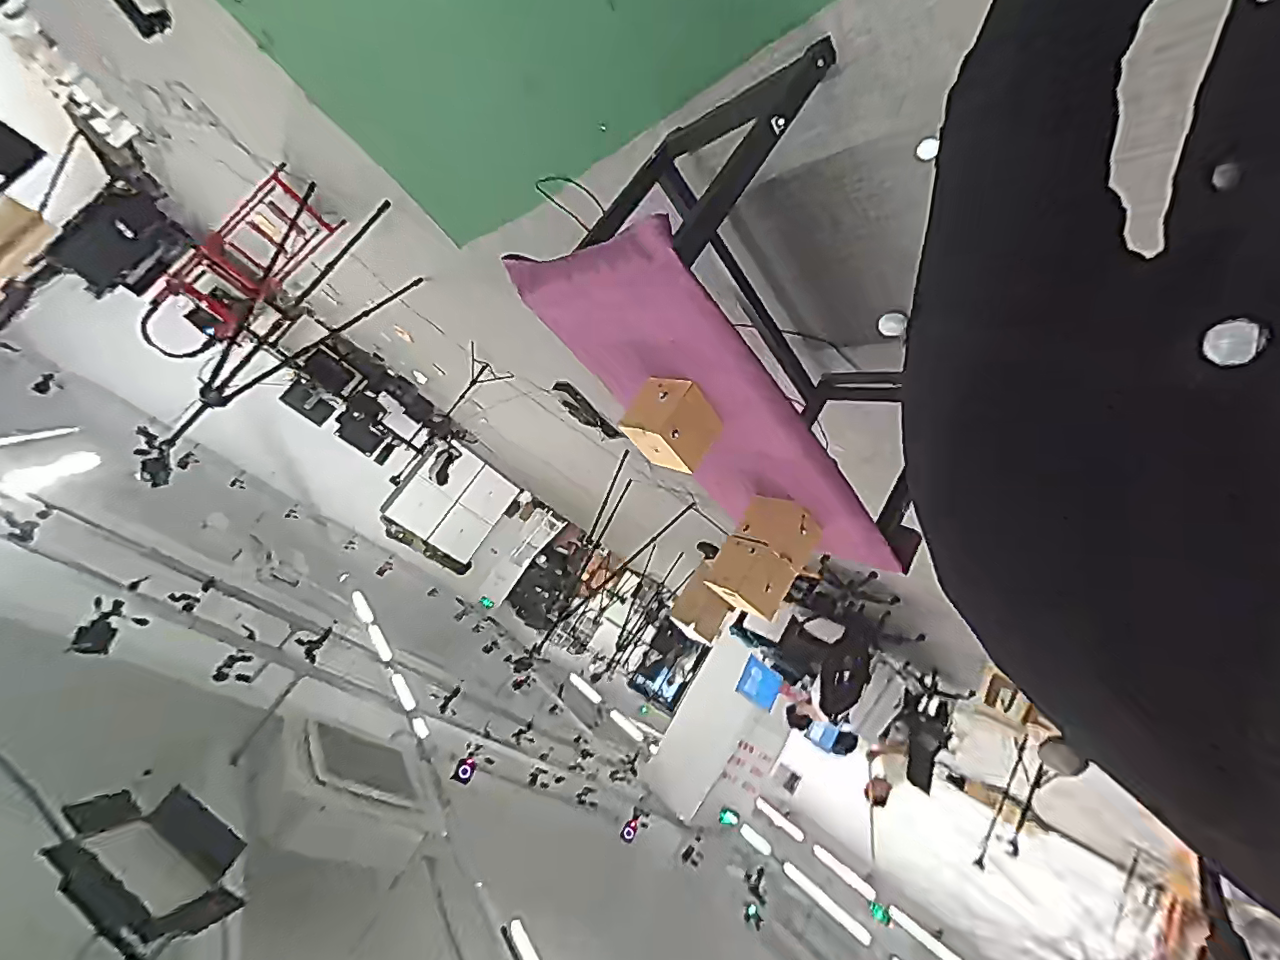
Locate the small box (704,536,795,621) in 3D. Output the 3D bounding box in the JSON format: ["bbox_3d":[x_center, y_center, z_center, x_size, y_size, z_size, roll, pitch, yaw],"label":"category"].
[{"bbox_3d":[0.337,0.294,1.648,0.179,0.176,0.168,43,165,-29],"label":"small box"}]

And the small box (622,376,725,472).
[{"bbox_3d":[0.093,-0.149,1.419,0.168,0.176,0.179,17,158,48],"label":"small box"}]

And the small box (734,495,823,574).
[{"bbox_3d":[0.434,0.164,1.689,0.168,0.176,0.179,41,164,-27],"label":"small box"}]
